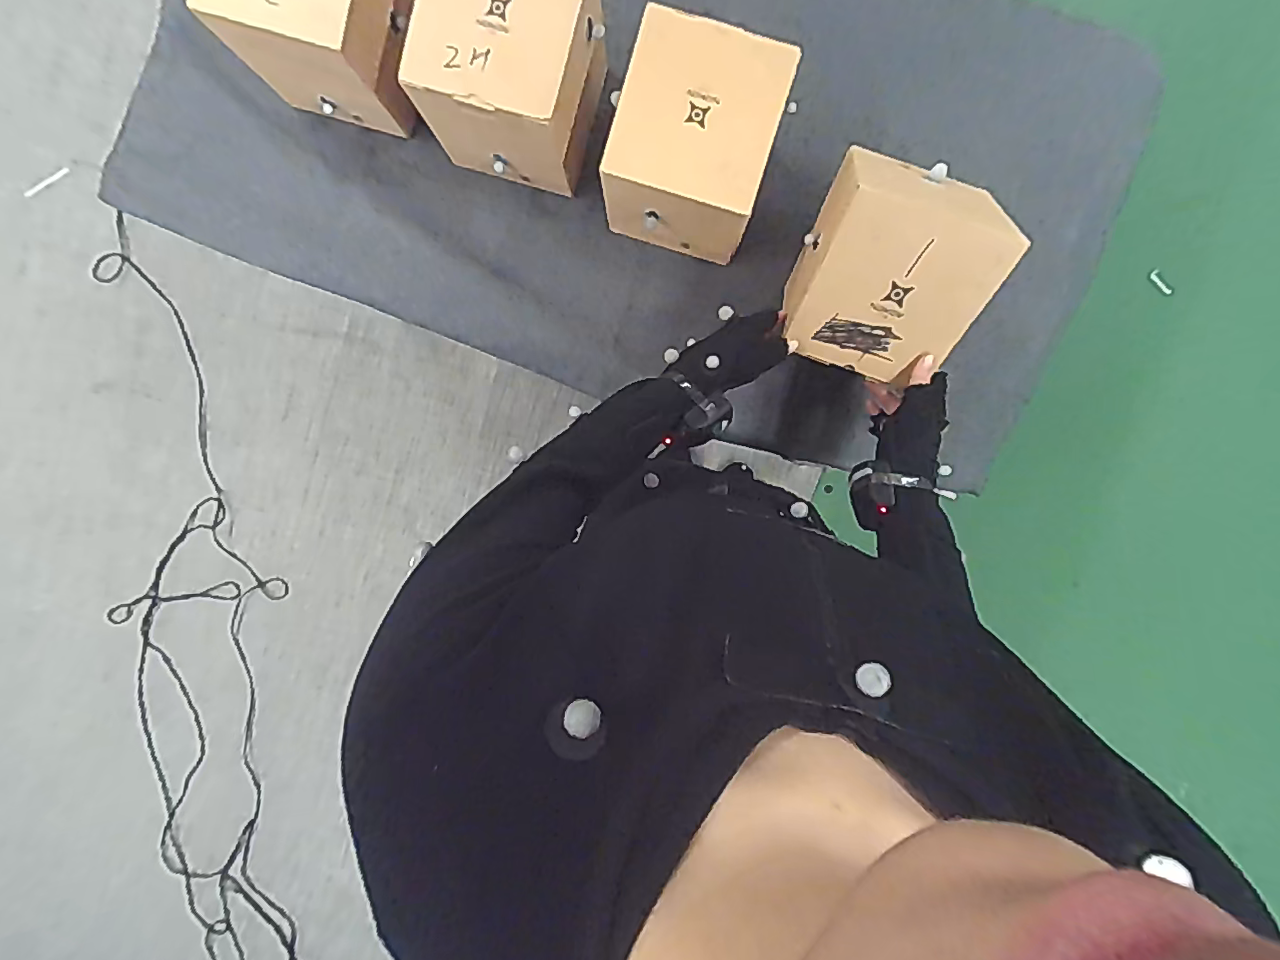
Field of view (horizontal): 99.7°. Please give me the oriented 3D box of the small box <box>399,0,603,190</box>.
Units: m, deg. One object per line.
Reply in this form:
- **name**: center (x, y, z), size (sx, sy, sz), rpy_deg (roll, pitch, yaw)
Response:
- **small box**: center (-0.144, -0.477, 0.624), size (0.168, 0.176, 0.179), rpy_deg (16, 94, 0)

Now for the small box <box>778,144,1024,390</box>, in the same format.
- **small box**: center (0.269, -0.237, 0.599), size (0.168, 0.176, 0.179), rpy_deg (19, 134, -1)

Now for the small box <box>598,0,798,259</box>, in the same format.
- **small box**: center (0.061, -0.385, 0.630), size (0.168, 0.176, 0.179), rpy_deg (17, 94, 0)
